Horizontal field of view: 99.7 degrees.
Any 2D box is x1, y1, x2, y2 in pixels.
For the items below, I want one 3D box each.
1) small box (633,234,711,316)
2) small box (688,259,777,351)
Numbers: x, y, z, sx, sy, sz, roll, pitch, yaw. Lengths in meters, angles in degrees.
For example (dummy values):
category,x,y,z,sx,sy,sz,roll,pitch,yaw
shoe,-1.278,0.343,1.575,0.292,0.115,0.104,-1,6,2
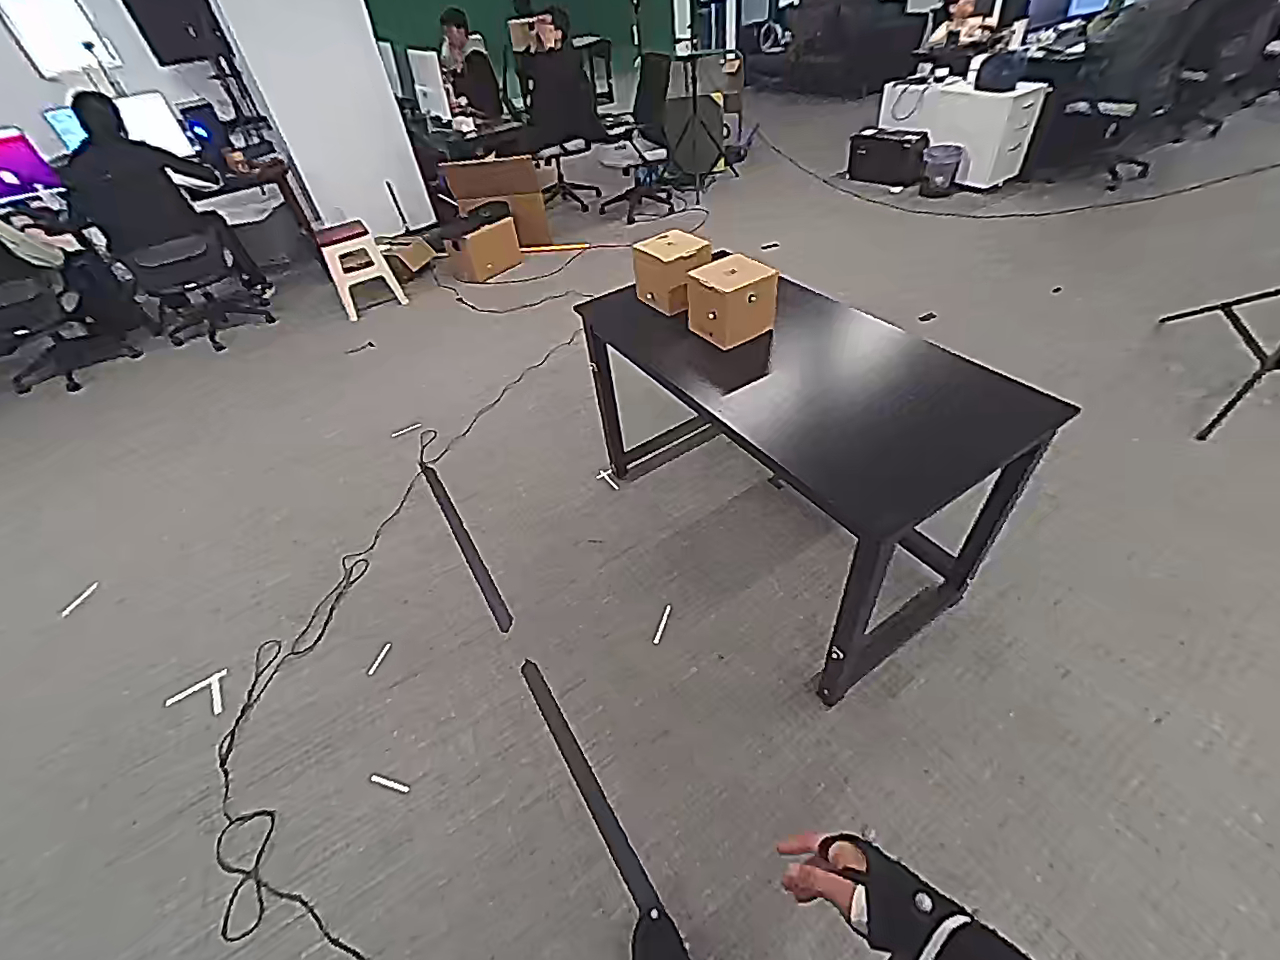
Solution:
category,x,y,z,sx,sy,sz,roll,pitch,yaw
small box,0.101,-0.616,1.636,0.168,0.176,0.179,-28,48,-21
small box,0.249,-0.475,1.473,0.179,0.176,0.168,-27,48,-21
